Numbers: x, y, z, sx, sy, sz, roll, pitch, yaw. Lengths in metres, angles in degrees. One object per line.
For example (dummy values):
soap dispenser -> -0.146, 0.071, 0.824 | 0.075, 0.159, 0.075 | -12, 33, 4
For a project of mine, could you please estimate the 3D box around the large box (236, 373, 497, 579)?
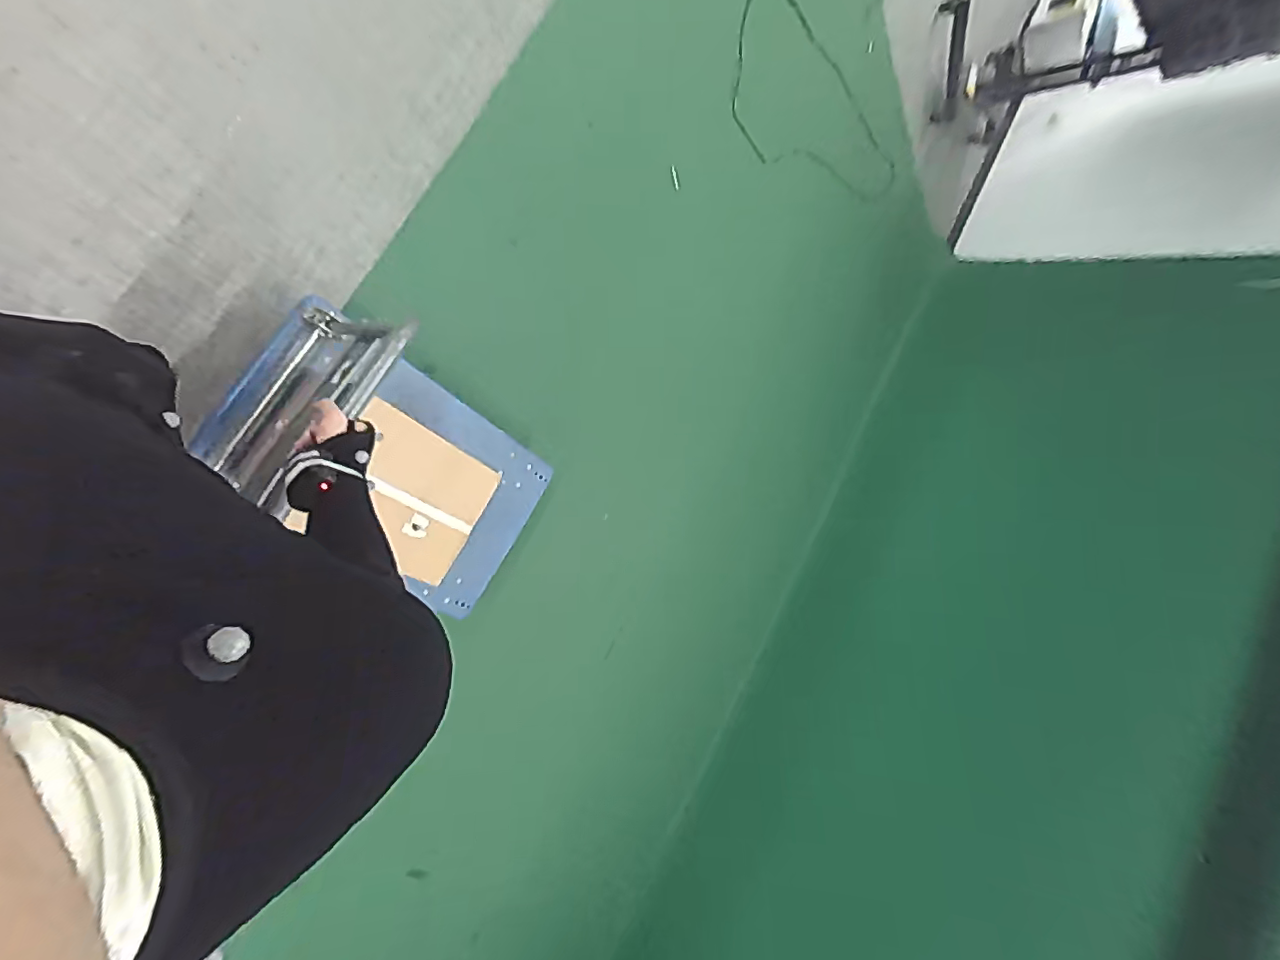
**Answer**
large box -> -0.641, -0.010, 1.296 | 0.408, 0.320, 0.320 | 41, 74, -46
